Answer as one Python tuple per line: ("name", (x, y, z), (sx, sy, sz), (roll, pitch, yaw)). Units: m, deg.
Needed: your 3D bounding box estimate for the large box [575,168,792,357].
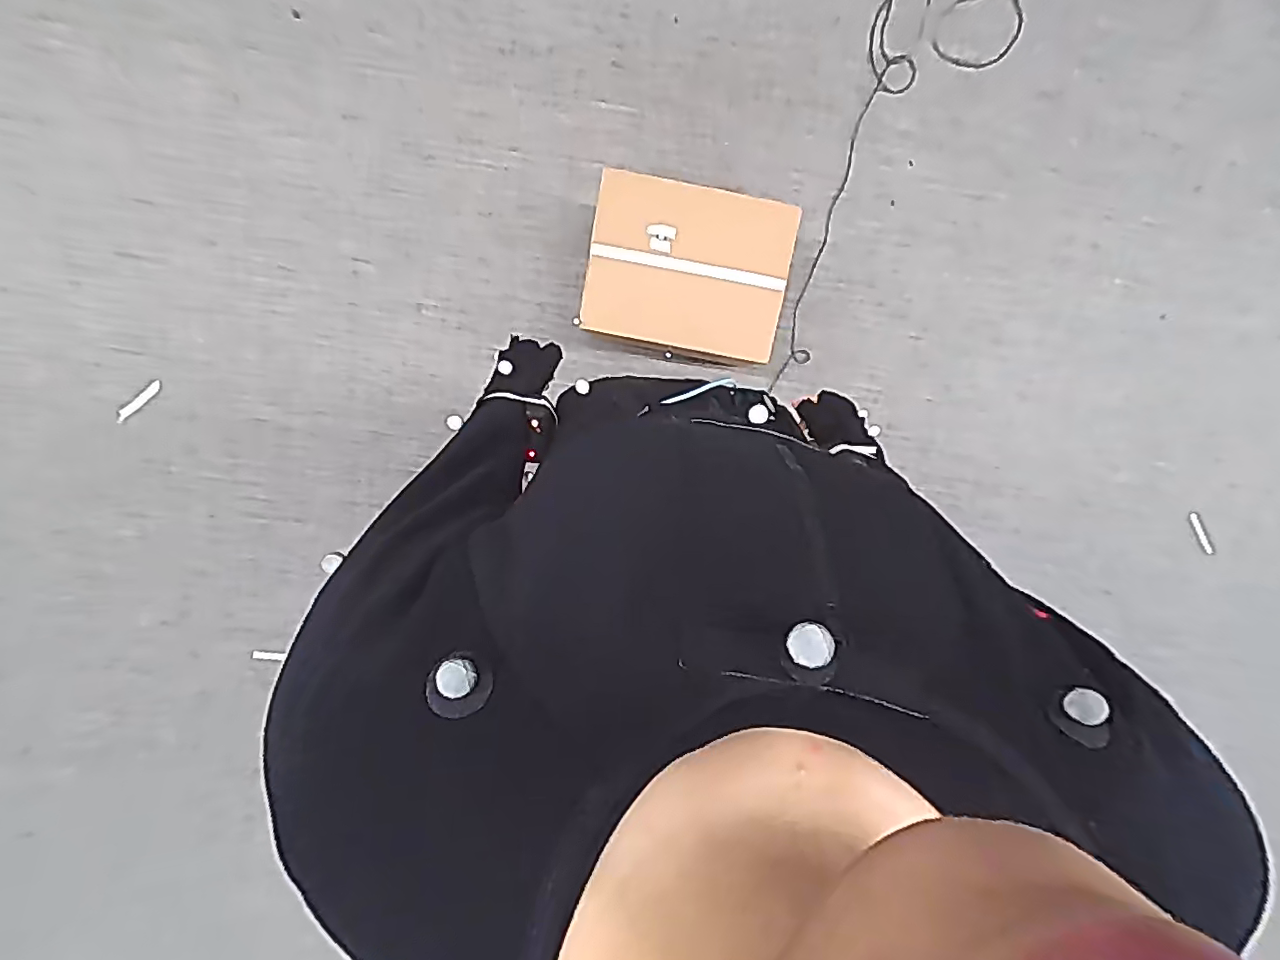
("large box", (0.088, -0.468, 1.246), (0.408, 0.320, 0.320), (10, 101, -2))
